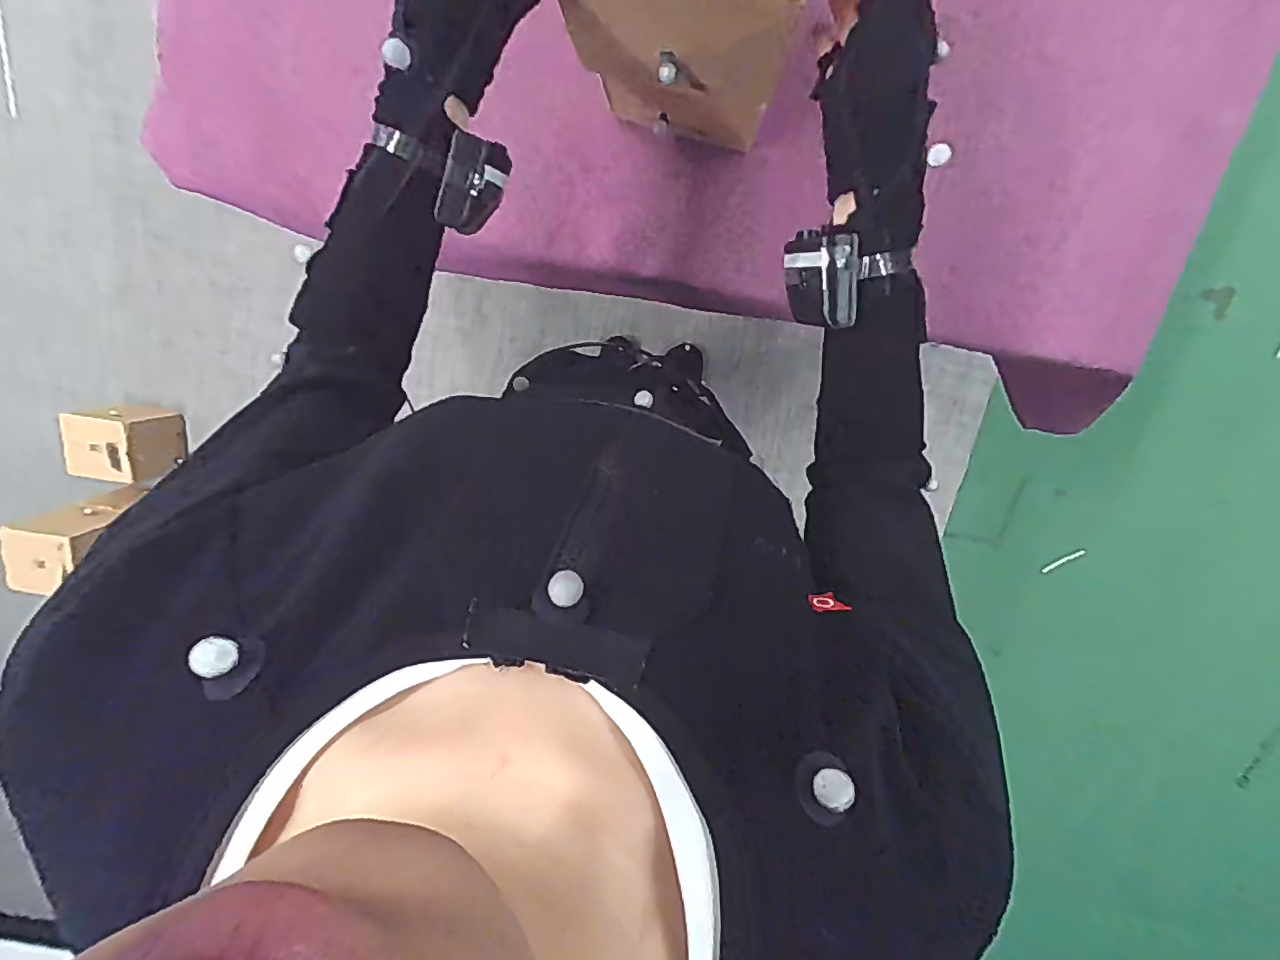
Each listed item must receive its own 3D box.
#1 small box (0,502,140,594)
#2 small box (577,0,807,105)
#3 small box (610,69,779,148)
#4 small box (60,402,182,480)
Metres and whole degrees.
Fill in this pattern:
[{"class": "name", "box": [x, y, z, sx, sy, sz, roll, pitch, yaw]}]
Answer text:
[{"class": "small box", "box": [-1.427, 0.164, 1.364, 0.179, 0.176, 0.168, 10, 106, 1]}, {"class": "small box", "box": [0.046, -0.406, 0.373, 0.168, 0.176, 0.179, 14, 105, 1]}, {"class": "small box", "box": [0.064, -0.463, 0.527, 0.168, 0.176, 0.179, 15, 106, 0]}, {"class": "small box", "box": [-1.378, -0.112, 1.453, 0.179, 0.176, 0.168, 9, 105, 1]}]
